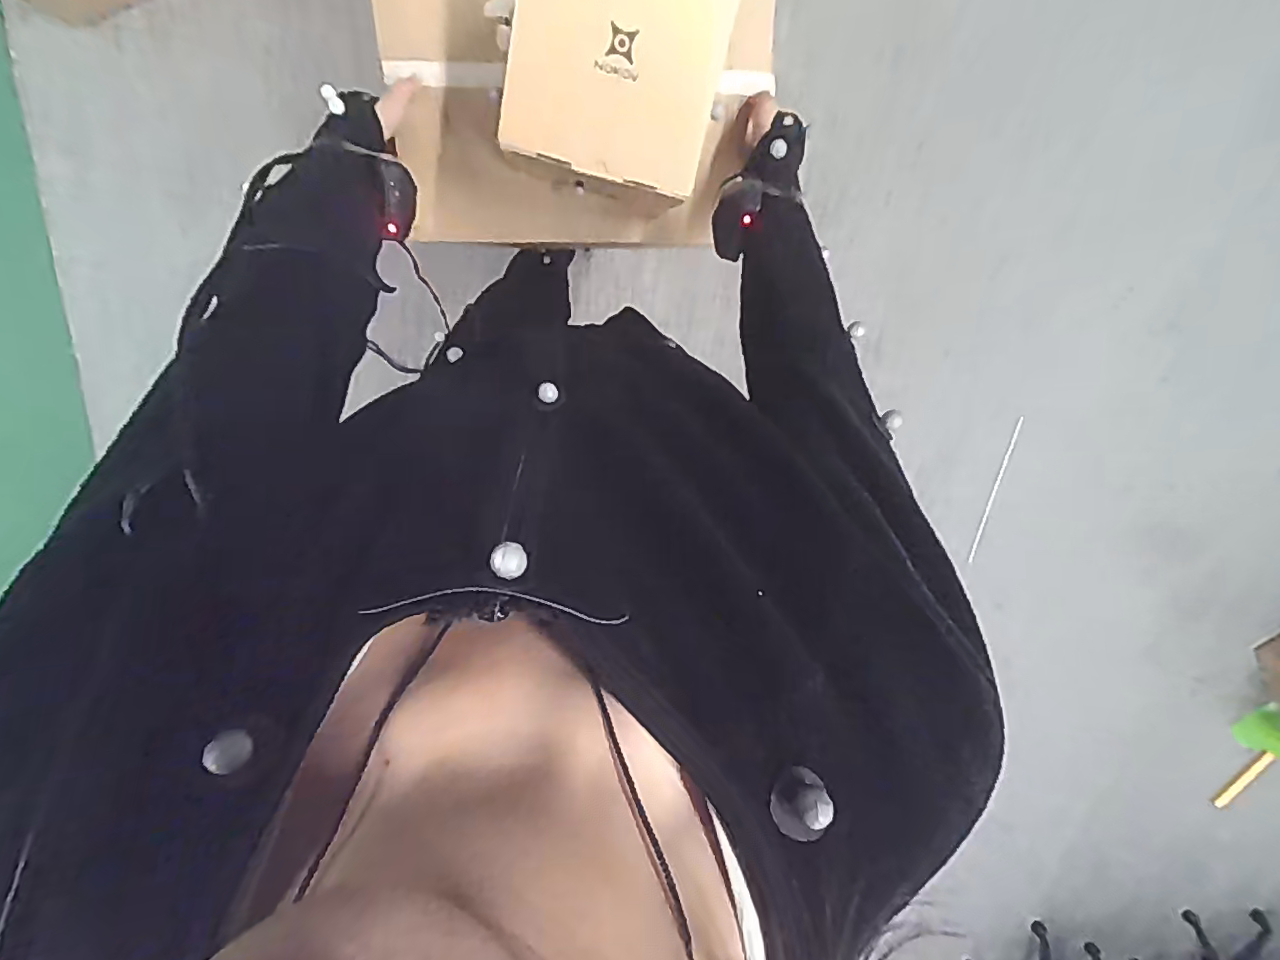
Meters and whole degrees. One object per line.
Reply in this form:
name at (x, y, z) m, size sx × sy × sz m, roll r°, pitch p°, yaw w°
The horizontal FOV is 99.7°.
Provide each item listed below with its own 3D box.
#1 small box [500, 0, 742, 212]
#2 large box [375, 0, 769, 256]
small box at (-0.023, -0.361, 0.490) m, size 0.168 × 0.176 × 0.179 m, roll 10°, pitch 111°, yaw -11°
large box at (-0.073, -0.464, 0.708) m, size 0.408 × 0.320 × 0.320 m, roll -2°, pitch 110°, yaw -4°
